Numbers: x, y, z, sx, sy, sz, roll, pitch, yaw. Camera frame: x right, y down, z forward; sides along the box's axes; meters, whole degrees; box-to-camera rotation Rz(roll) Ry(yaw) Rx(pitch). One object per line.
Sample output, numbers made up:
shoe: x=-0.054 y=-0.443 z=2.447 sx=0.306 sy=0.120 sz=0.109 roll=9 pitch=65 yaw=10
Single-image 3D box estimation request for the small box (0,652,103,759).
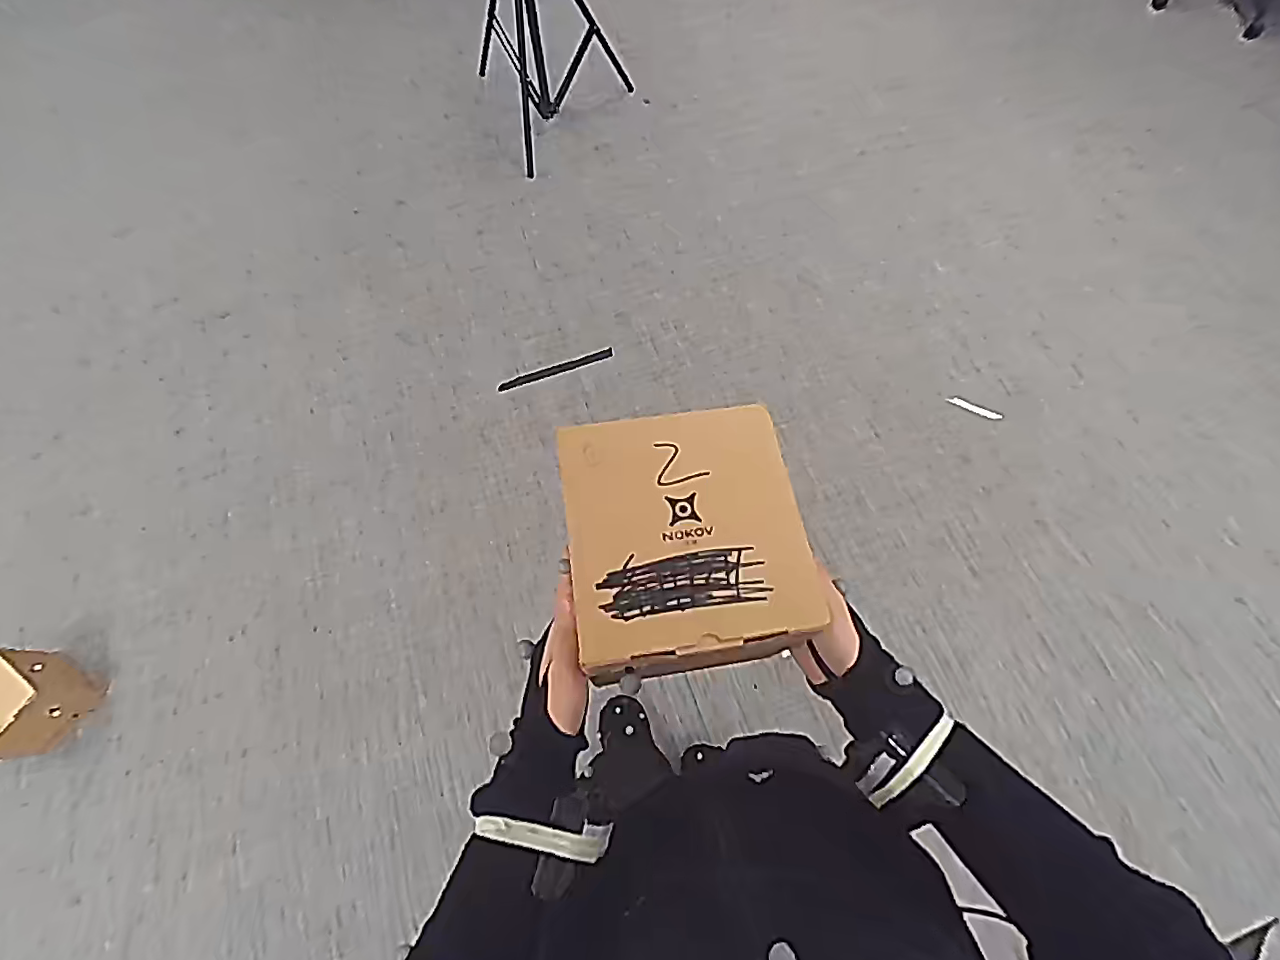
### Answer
small box: x=-1.418 y=0.515 z=1.242 sx=0.179 sy=0.176 sz=0.168 roll=31 pitch=71 yaw=13
